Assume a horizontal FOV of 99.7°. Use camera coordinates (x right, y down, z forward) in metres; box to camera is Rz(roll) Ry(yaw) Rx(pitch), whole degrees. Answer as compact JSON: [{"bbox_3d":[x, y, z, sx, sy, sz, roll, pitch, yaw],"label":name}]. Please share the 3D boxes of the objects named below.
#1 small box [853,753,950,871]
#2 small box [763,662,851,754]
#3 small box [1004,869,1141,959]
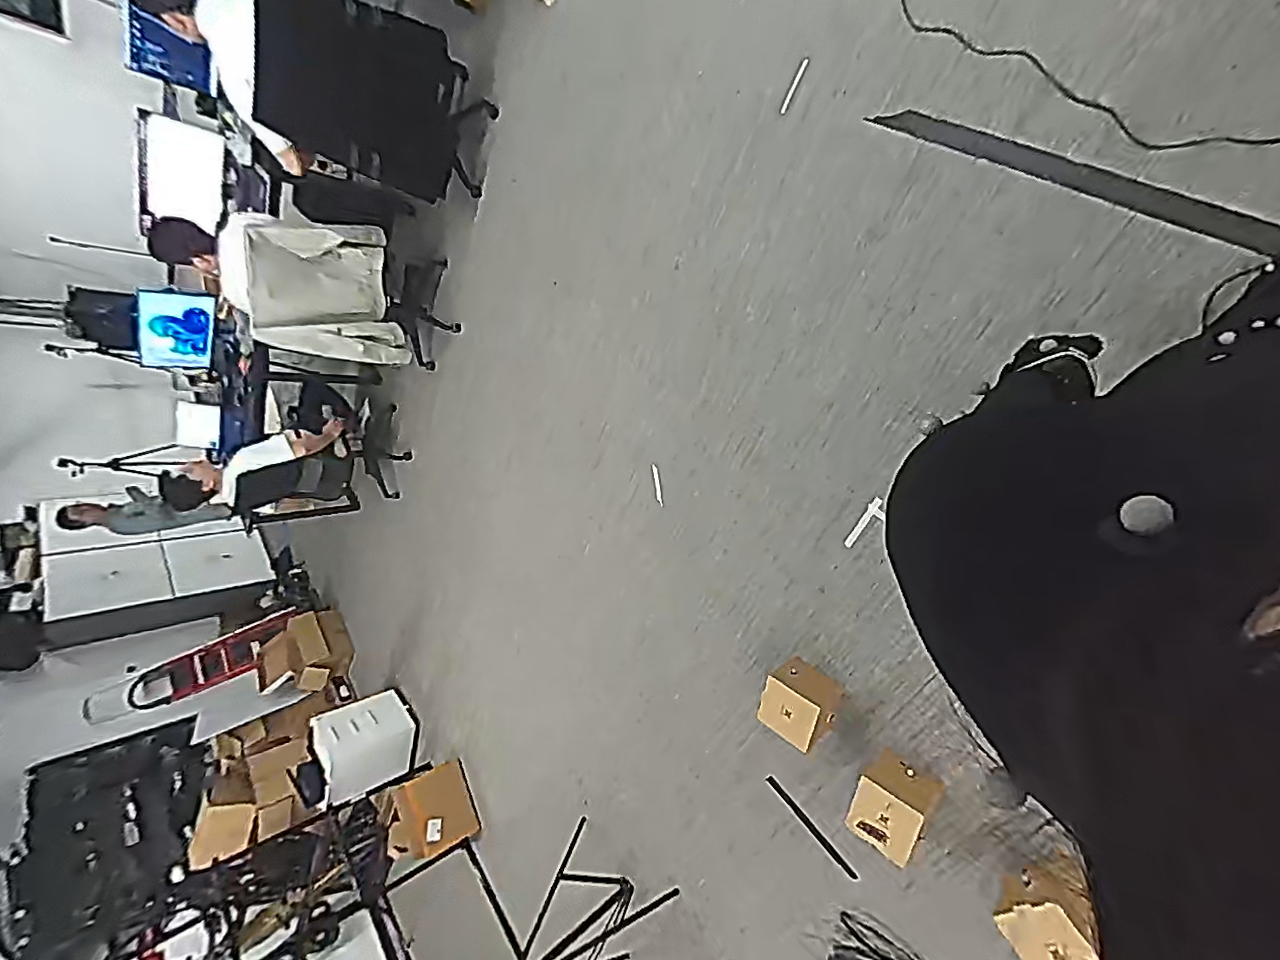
[{"bbox_3d":[0.708,0.885,1.458,0.168,0.176,0.179,23,110,40],"label":"small box"},{"bbox_3d":[0.505,0.676,1.634,0.179,0.176,0.168,24,112,40],"label":"small box"},{"bbox_3d":[0.973,1.017,1.218,0.179,0.176,0.168,56,129,24],"label":"small box"}]
